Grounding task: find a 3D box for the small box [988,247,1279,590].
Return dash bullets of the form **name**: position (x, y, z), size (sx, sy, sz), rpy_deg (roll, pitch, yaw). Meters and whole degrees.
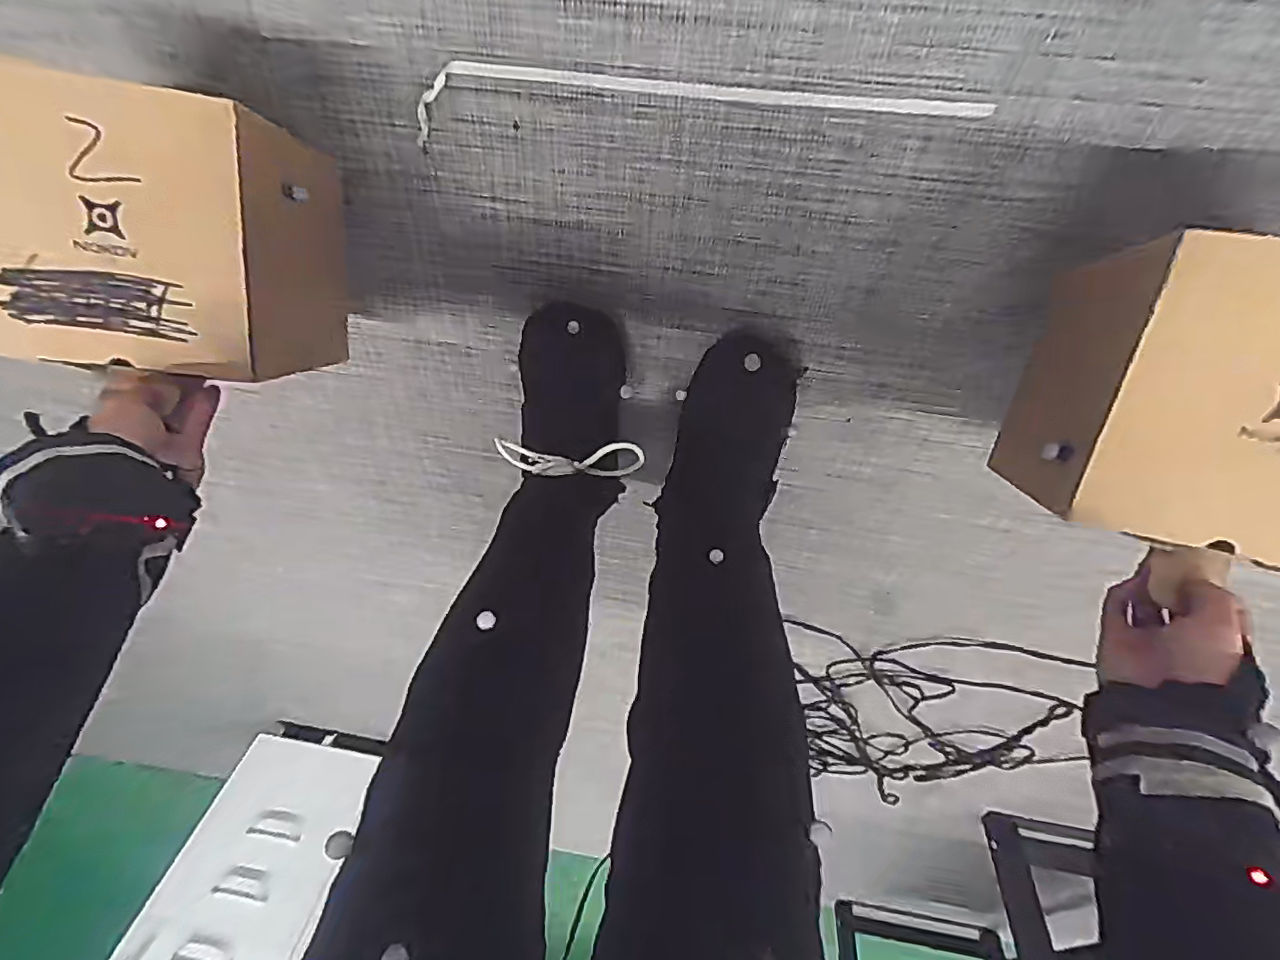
- **small box**: position (0.375, -0.046, 0.373), size (0.168, 0.176, 0.179), rpy_deg (14, 109, 13)
